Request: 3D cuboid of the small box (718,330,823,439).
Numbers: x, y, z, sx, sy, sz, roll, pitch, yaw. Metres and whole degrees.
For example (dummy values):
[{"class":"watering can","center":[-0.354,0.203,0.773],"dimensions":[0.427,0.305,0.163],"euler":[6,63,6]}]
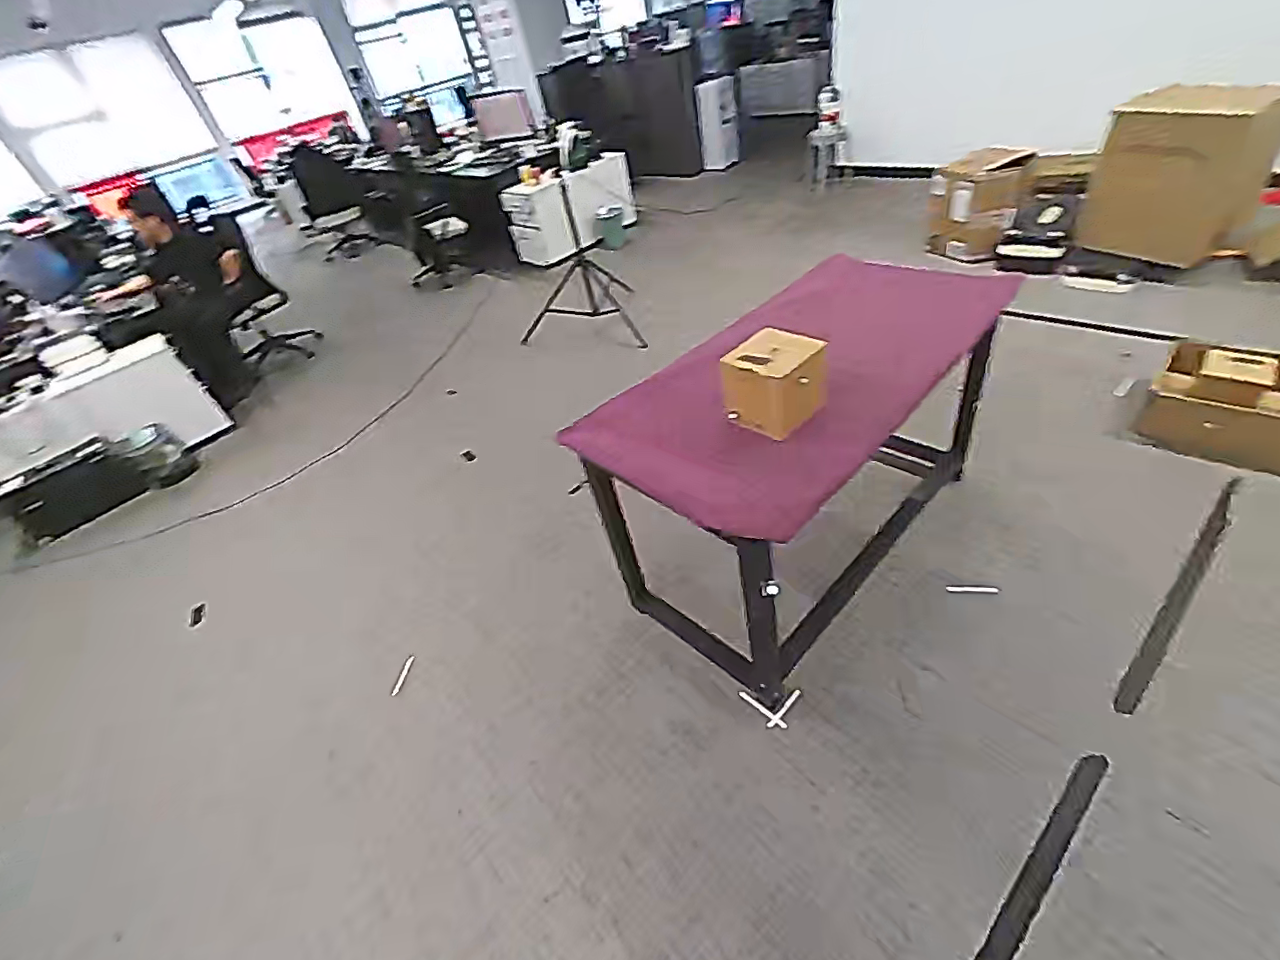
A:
[{"class":"small box","center":[0.308,-0.222,1.259],"dimensions":[0.179,0.176,0.168],"euler":[-38,45,-25]}]
